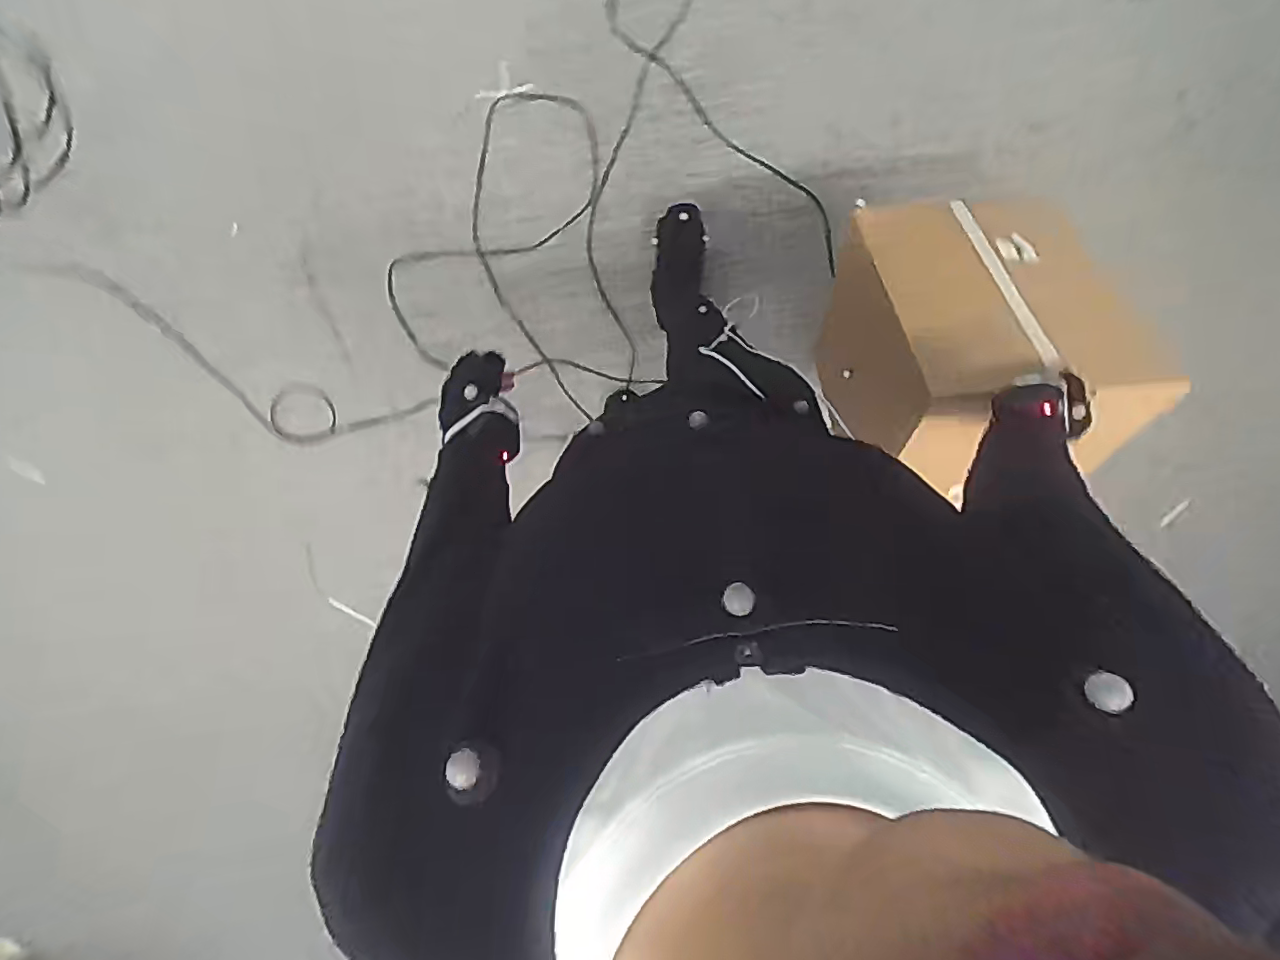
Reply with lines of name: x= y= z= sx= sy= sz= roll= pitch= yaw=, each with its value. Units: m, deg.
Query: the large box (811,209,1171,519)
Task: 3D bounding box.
large box: x=0.507 y=-0.188 z=0.903 sx=0.320 sy=0.408 sz=0.320 roll=-3 pitch=145 yaw=1
